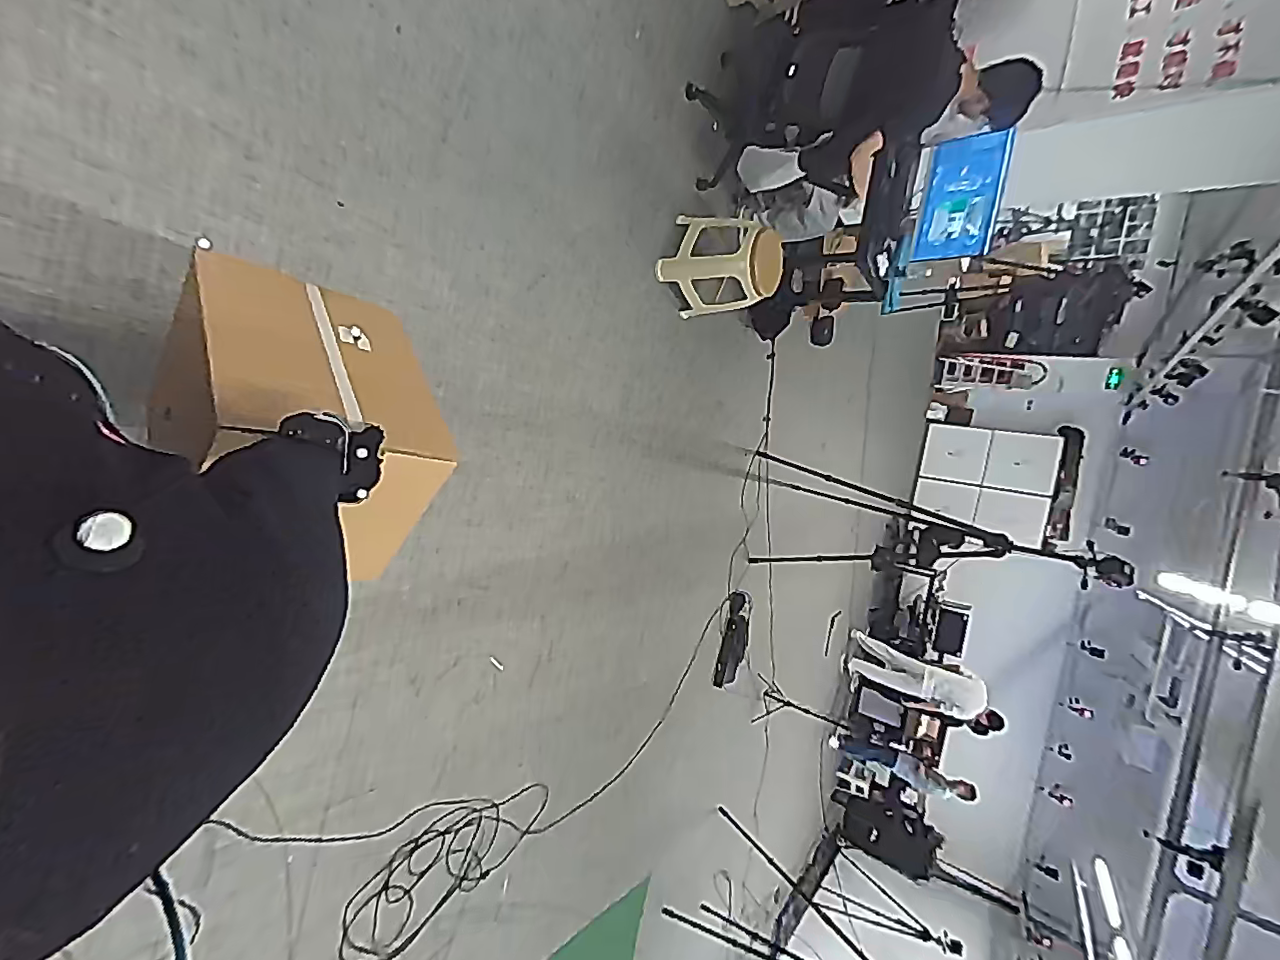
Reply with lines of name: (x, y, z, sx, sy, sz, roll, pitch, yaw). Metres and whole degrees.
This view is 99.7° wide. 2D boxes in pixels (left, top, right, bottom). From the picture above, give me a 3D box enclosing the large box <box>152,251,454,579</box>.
large box: (-0.575, -0.090, 0.903, 0.320, 0.408, 0.320, 10, 129, -51)
